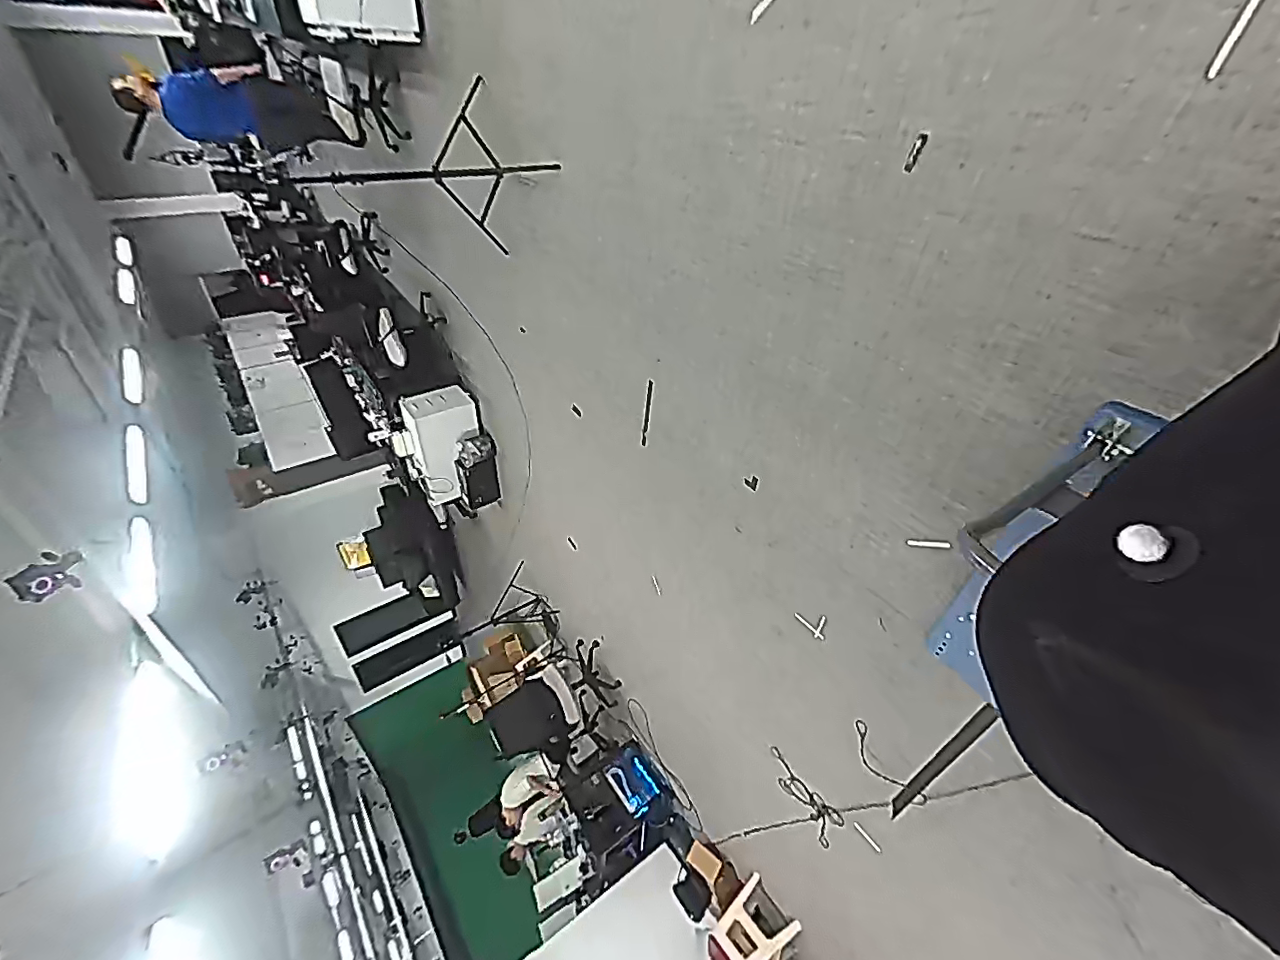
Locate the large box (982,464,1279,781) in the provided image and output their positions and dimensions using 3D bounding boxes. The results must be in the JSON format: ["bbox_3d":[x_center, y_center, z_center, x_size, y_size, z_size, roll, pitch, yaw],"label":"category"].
[{"bbox_3d":[0.966,0.235,0.994,0.408,0.320,0.320,44,143,36],"label":"large box"}]
